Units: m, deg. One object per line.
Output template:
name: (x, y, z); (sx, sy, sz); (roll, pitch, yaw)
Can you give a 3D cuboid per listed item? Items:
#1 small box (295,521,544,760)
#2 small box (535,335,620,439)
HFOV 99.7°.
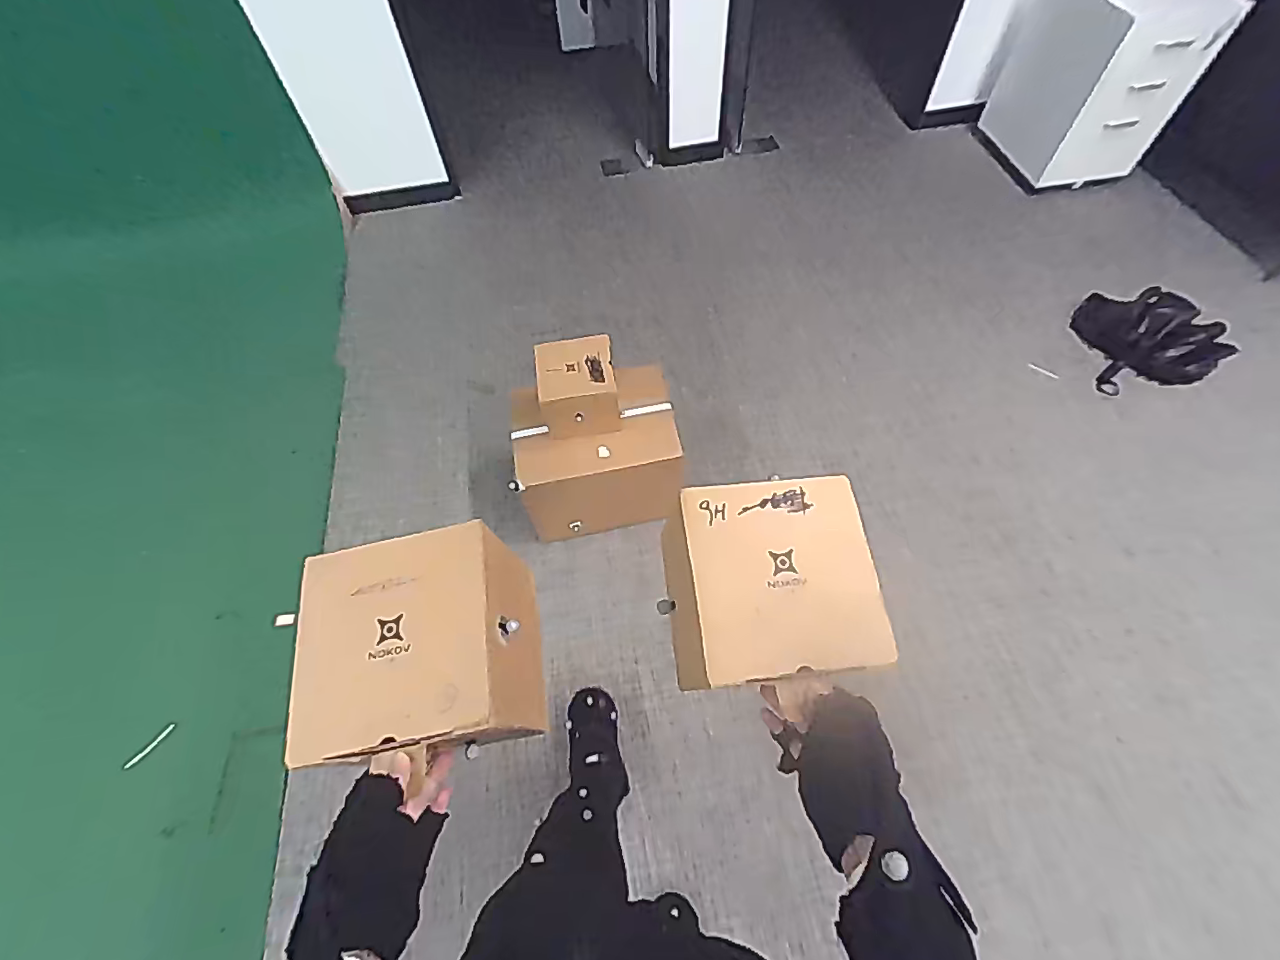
small box: (-0.202, 0.165, 0.537); (0.168, 0.176, 0.179); (-13, 62, 1)
small box: (-0.144, -0.218, 1.294); (0.179, 0.176, 0.168); (-11, 65, -4)
